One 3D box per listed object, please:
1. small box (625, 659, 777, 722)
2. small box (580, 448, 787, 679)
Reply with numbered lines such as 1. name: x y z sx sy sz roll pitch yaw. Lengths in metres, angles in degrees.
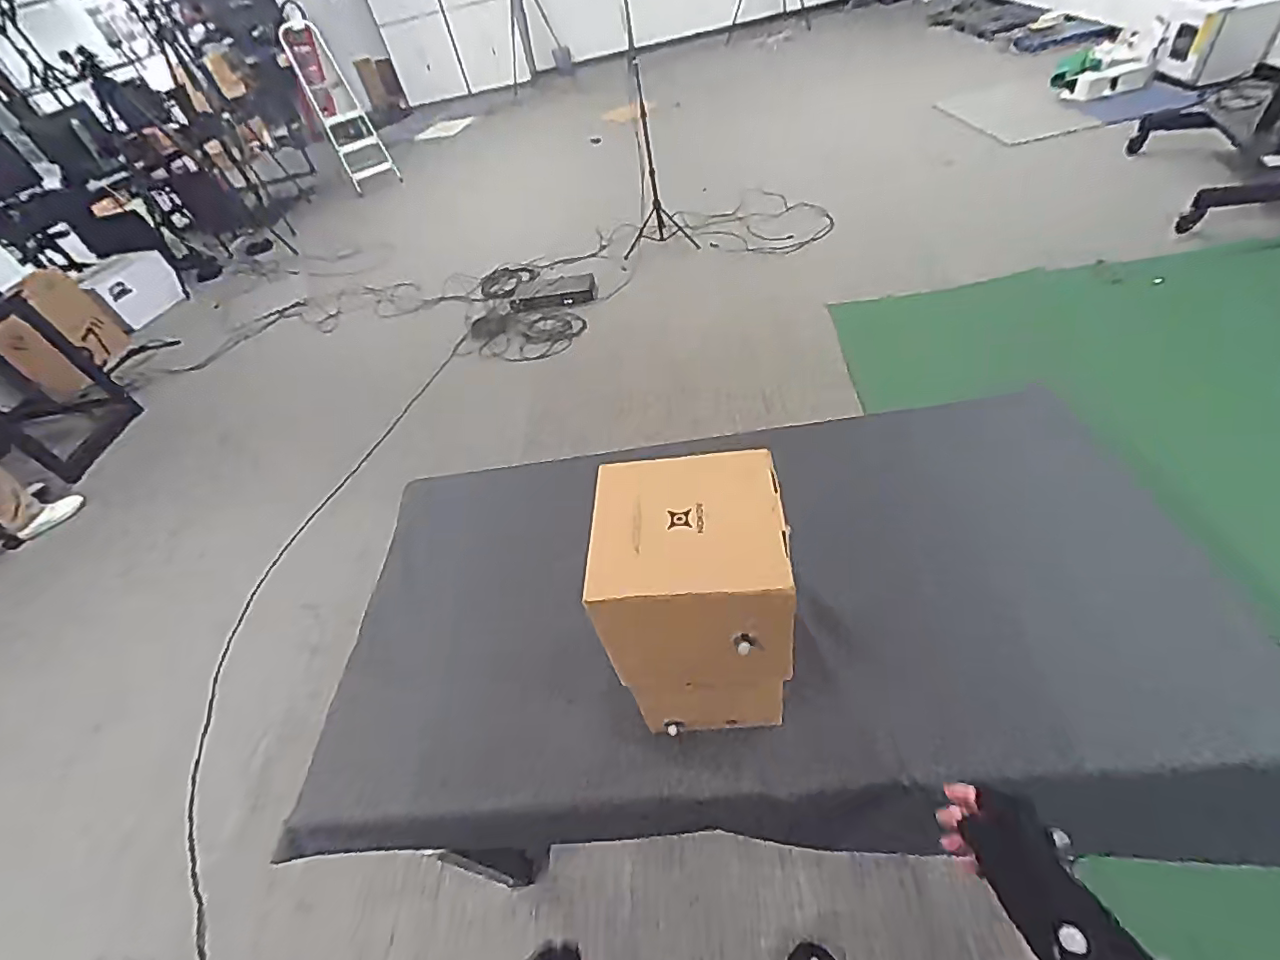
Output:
1. small box: 0.075 0.191 0.685 0.168 0.176 0.179 -10 47 6
2. small box: 0.052 0.091 0.558 0.179 0.176 0.168 -7 44 10
